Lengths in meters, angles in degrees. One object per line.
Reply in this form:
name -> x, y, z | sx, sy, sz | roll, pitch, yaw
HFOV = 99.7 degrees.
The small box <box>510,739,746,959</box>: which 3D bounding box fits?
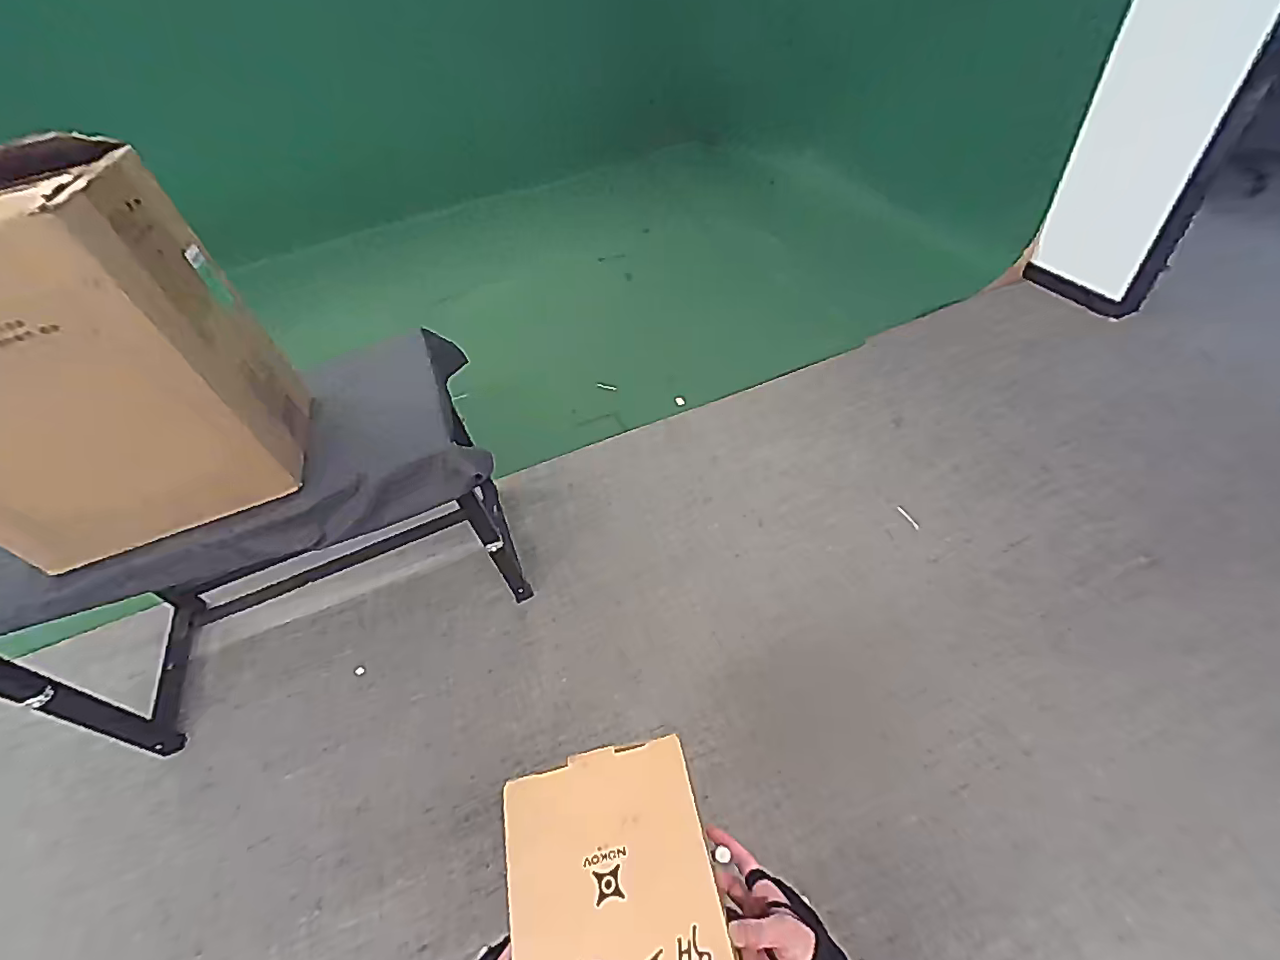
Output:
small box -> -0.008, 0.371, 0.493 | 0.168, 0.176, 0.179 | -17, 49, -3
